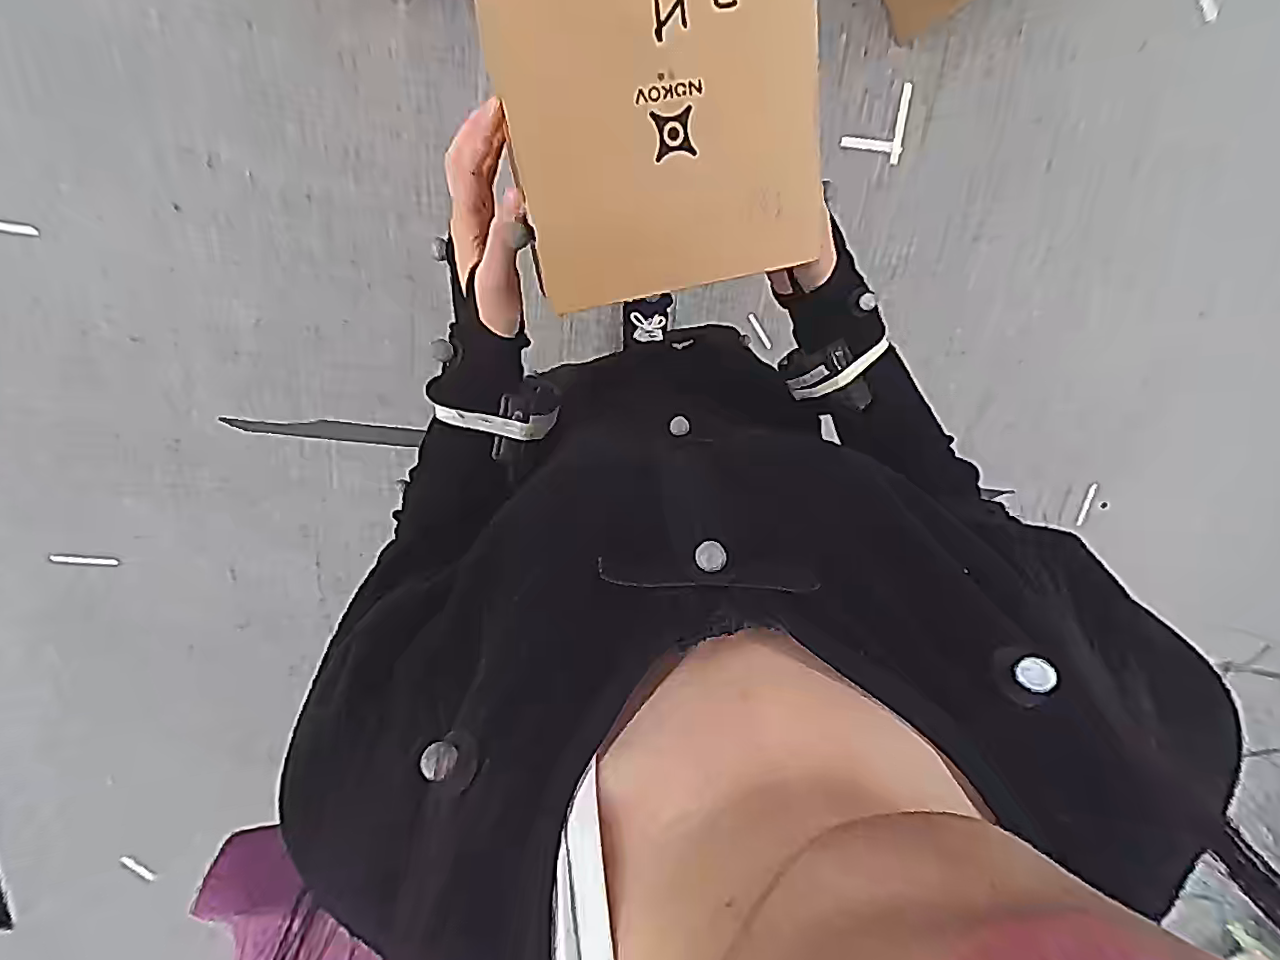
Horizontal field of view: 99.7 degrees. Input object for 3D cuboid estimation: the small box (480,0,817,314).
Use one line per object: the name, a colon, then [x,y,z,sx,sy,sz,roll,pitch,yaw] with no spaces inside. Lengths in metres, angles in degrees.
small box: [0.000,-0.224,0.357,0.168,0.176,0.179,-15,116,-8]
